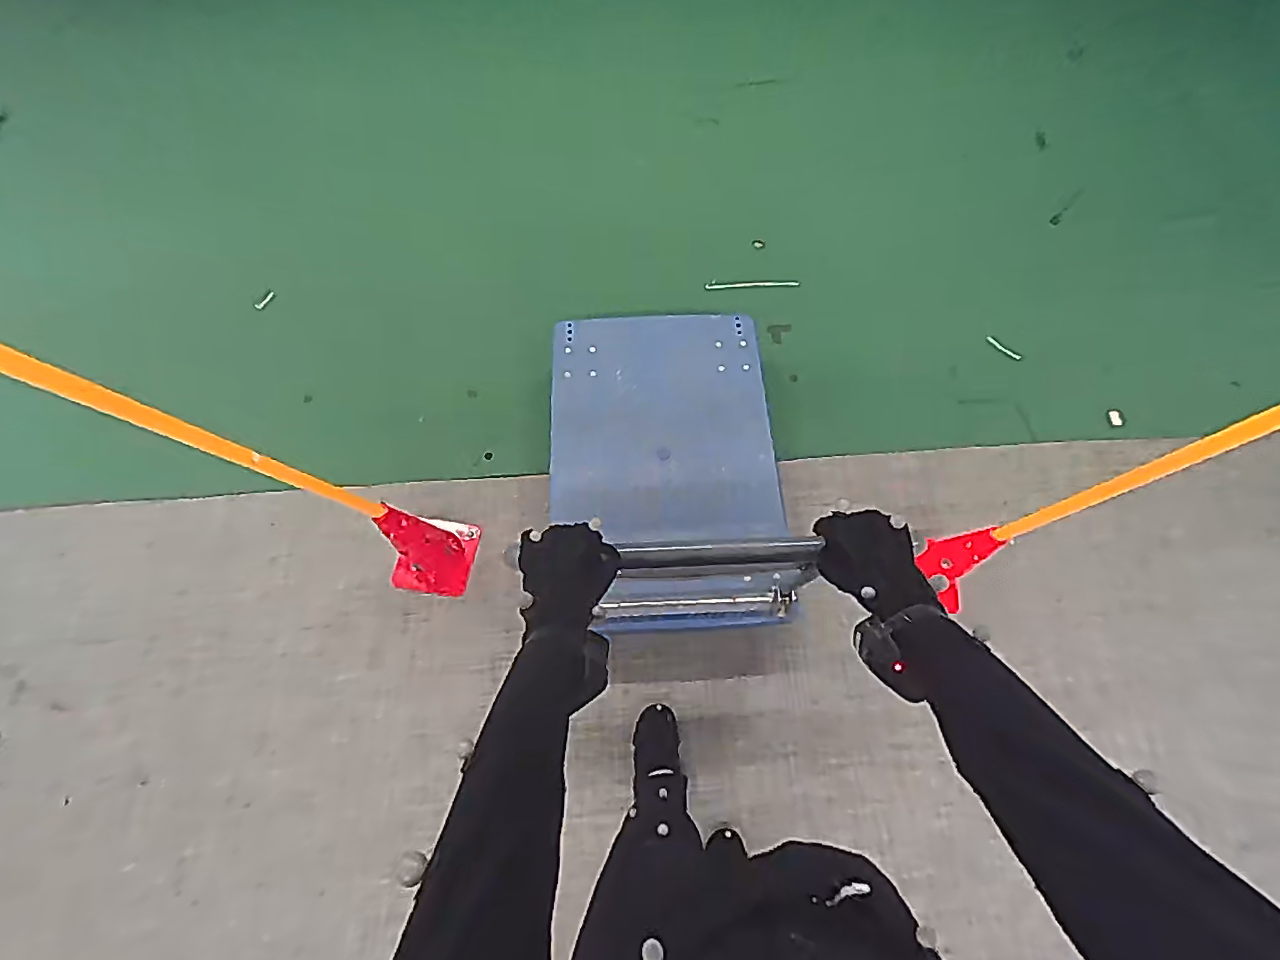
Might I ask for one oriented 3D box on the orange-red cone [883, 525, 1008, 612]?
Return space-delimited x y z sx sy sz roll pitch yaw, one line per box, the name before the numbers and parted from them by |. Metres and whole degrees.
orange-red cone | 0.744 0.179 1.276 0.198 0.360 0.199 7 69 3
